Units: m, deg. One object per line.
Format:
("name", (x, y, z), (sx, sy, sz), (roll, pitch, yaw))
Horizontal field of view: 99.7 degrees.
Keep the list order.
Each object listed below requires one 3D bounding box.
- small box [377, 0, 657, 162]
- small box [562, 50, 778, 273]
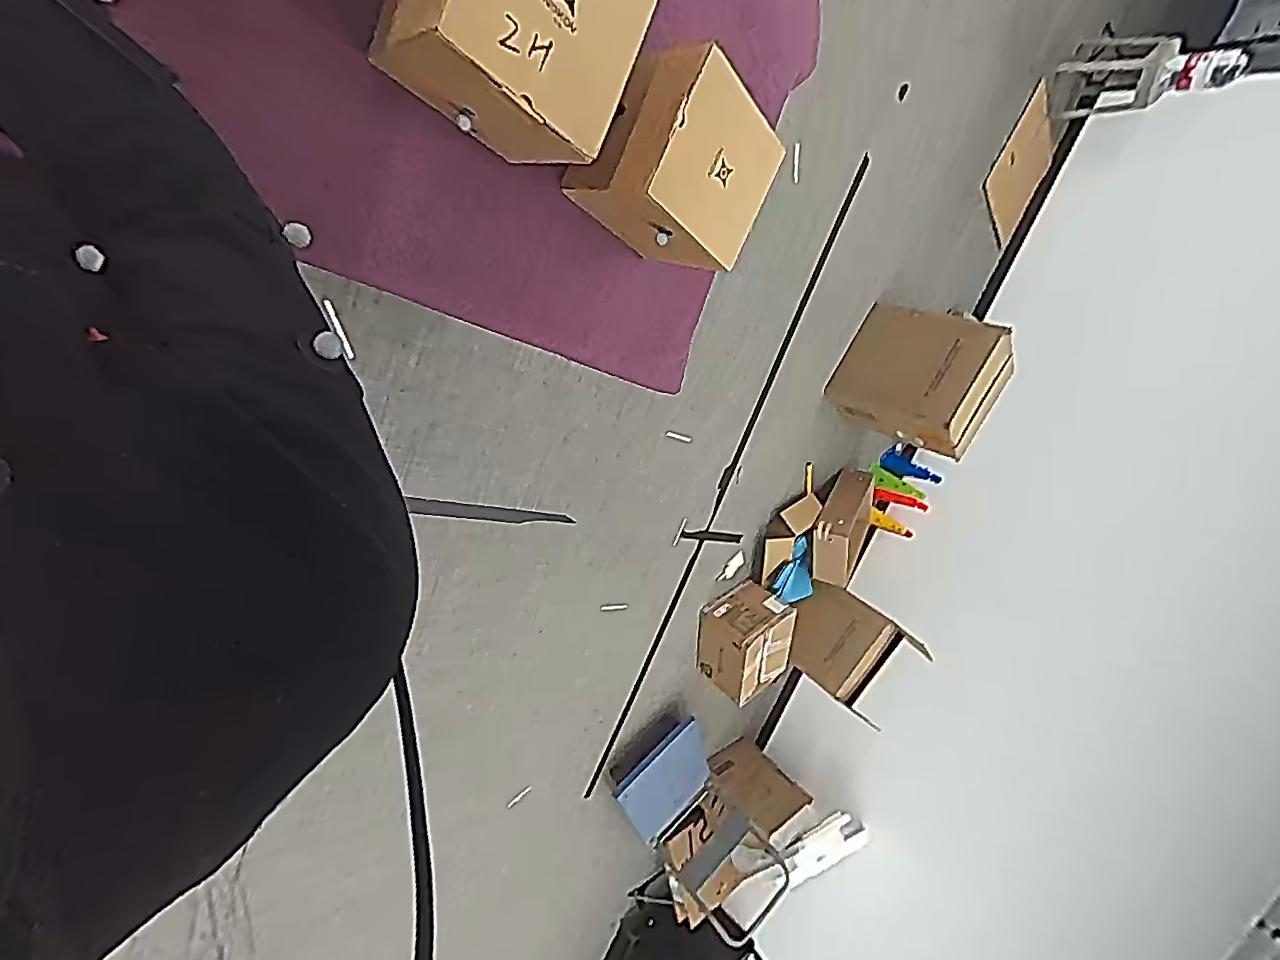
("small box", (-0.117, -0.430, 0.502), (0.168, 0.176, 0.179), (15, 102, -48))
("small box", (0.037, -0.391, 0.684), (0.179, 0.176, 0.168), (19, 99, -48))
